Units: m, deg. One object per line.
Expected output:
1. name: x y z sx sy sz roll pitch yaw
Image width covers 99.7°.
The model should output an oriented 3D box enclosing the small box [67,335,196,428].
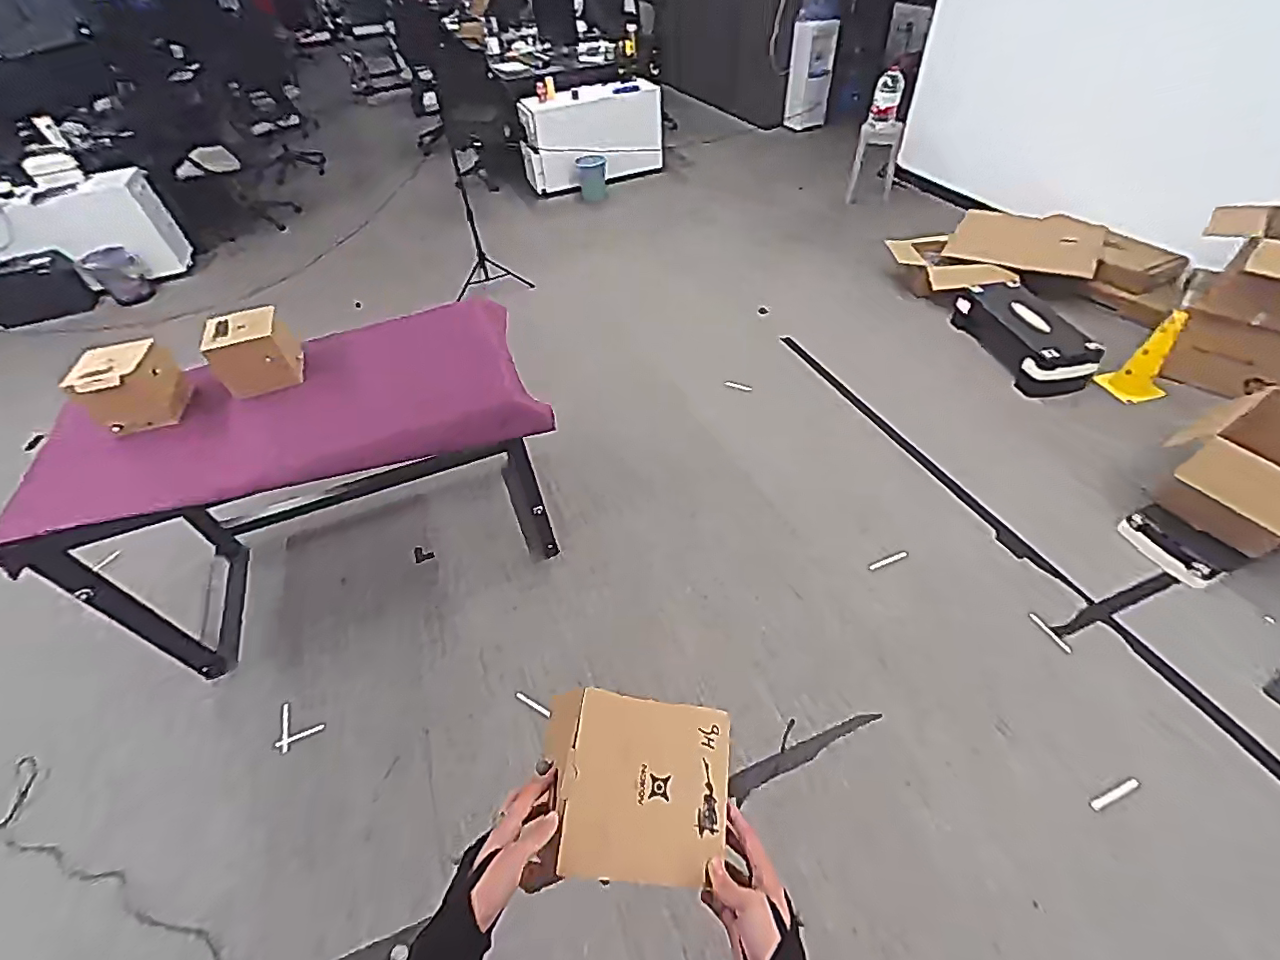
1. small box: -1.343 -0.256 1.447 0.168 0.176 0.179 -14 48 -8
